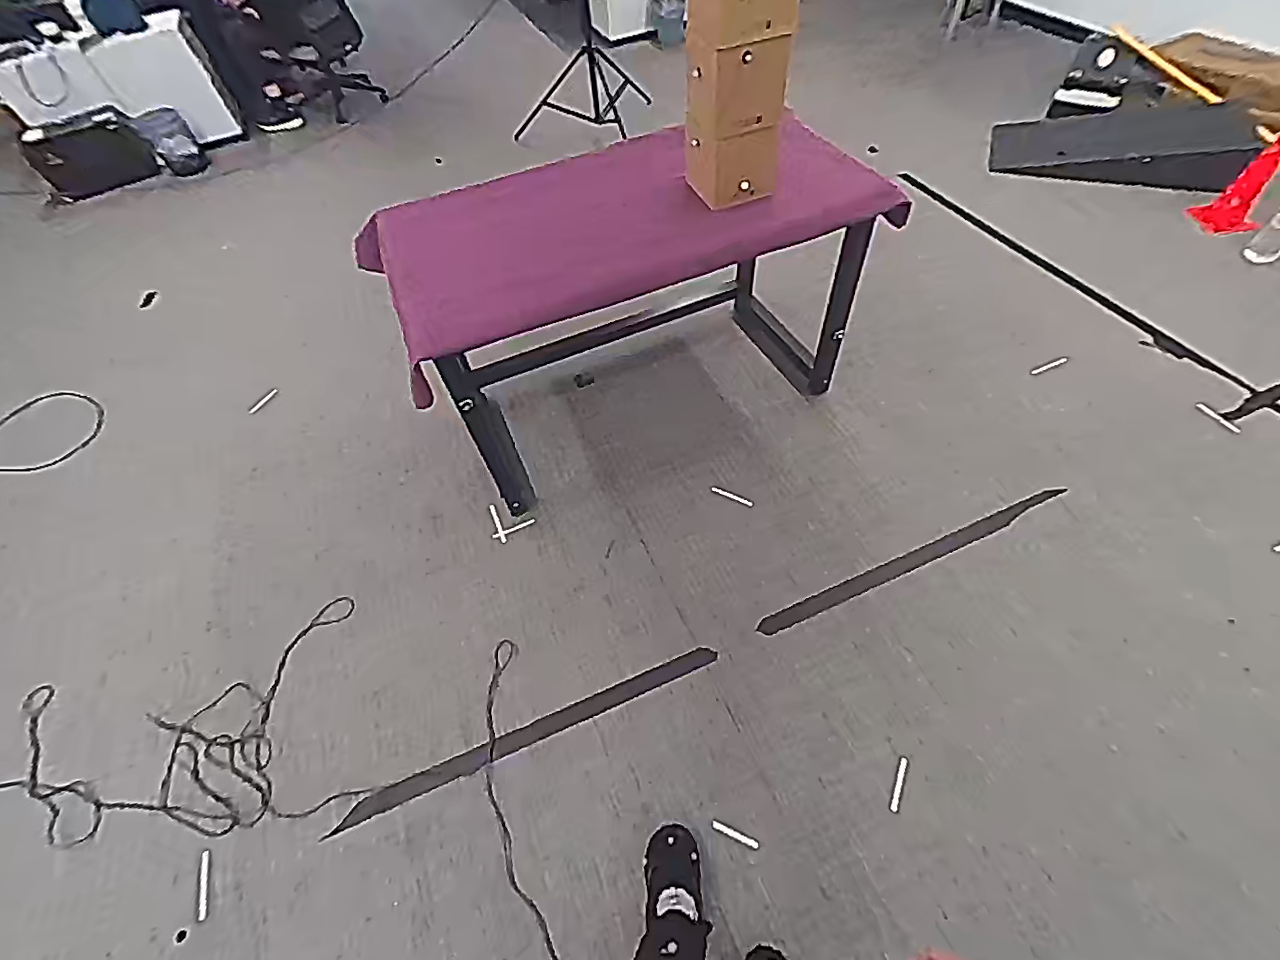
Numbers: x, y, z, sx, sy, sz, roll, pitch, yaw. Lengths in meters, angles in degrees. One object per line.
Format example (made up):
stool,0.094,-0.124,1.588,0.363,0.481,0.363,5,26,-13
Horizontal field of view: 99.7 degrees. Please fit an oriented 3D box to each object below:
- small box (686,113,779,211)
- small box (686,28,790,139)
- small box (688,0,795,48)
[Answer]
small box,0.219,-0.795,1.328,0.168,0.176,0.179,-20,56,-8
small box,0.207,-0.884,1.191,0.168,0.176,0.179,-18,55,-6
small box,0.197,-0.972,1.054,0.168,0.176,0.179,-19,55,-6
